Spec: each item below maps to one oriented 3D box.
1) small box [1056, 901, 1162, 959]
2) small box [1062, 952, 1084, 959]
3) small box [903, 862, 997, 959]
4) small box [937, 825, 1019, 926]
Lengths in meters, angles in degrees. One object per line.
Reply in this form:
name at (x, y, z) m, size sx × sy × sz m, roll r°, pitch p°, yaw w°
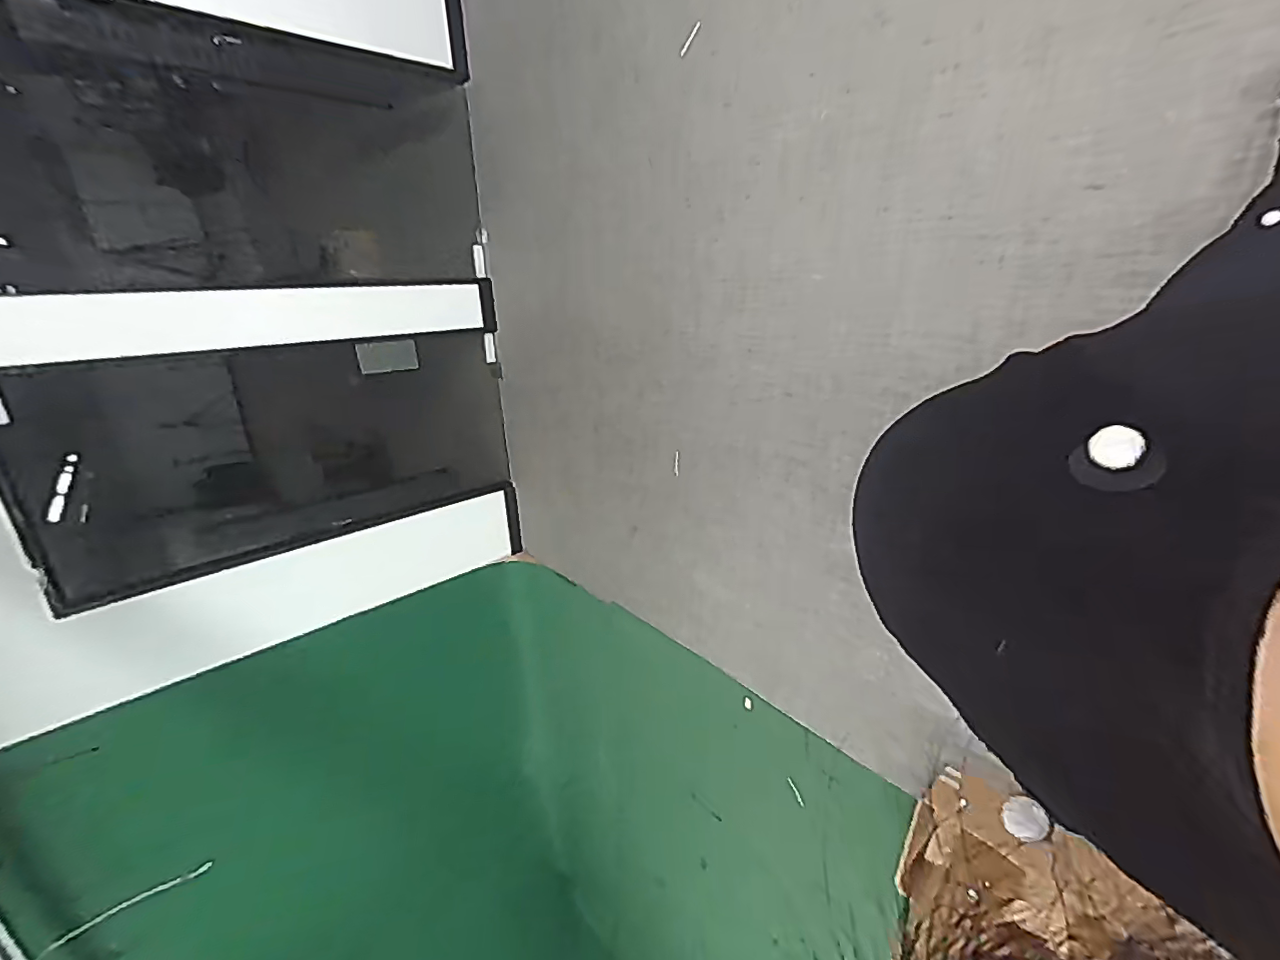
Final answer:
small box at (1.124, 1.191, 1.308) m, size 0.168 × 0.176 × 0.179 m, roll 20°, pitch 118°, yaw 45°
small box at (1.005, 1.221, 1.199) m, size 0.168 × 0.176 × 0.179 m, roll 22°, pitch 121°, yaw 45°
small box at (0.812, 1.167, 1.415) m, size 0.168 × 0.176 × 0.179 m, roll 14°, pitch 112°, yaw 44°
small box at (0.932, 1.130, 1.520) m, size 0.168 × 0.176 × 0.179 m, roll 26°, pitch 122°, yaw 41°
